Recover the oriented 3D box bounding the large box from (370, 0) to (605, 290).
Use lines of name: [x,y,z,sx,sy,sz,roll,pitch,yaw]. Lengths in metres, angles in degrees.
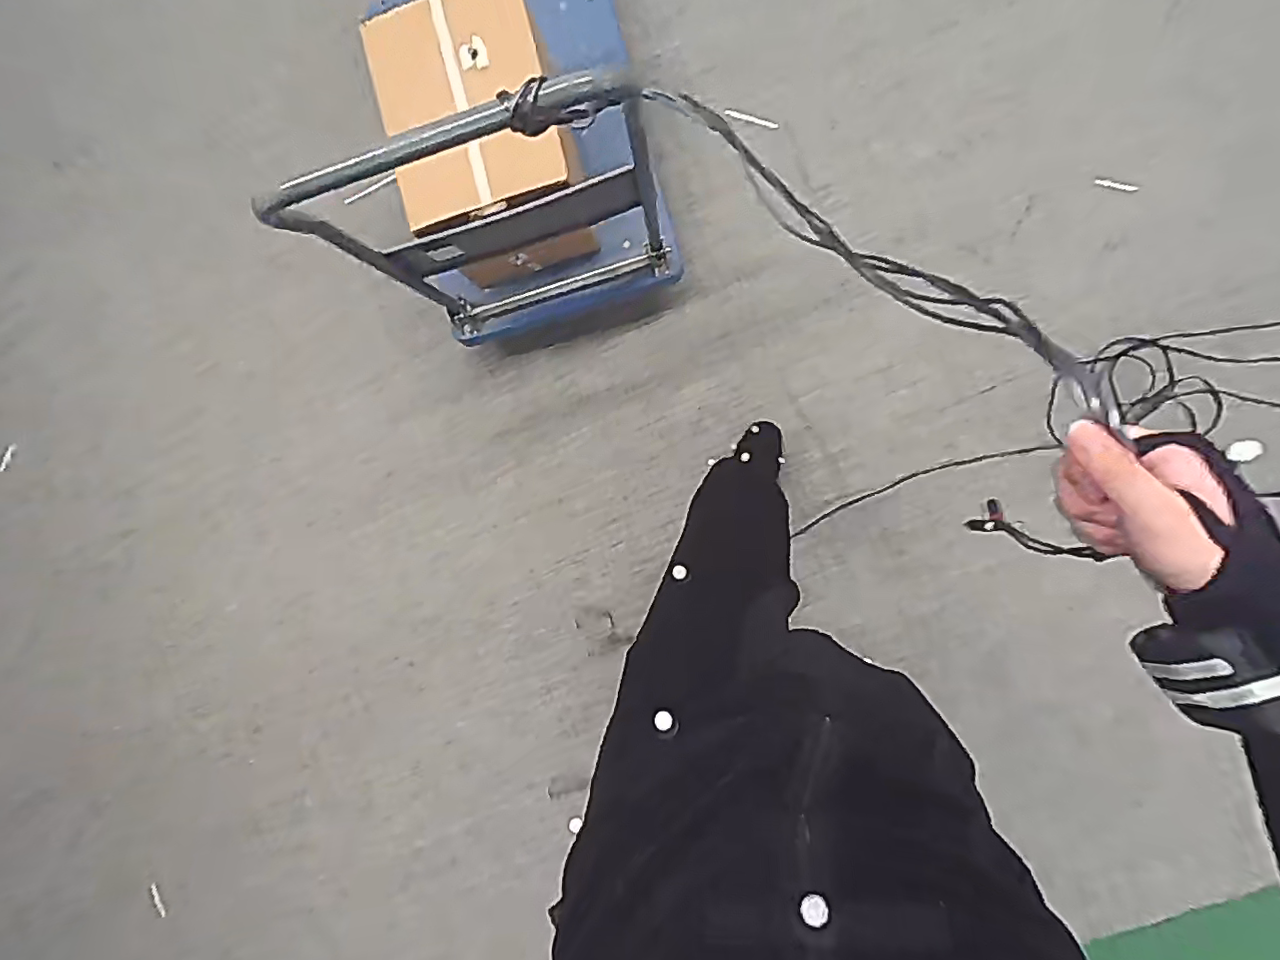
large box: [-0.295,-0.684,1.143,0.320,0.320,0.408,-15,88,7]
